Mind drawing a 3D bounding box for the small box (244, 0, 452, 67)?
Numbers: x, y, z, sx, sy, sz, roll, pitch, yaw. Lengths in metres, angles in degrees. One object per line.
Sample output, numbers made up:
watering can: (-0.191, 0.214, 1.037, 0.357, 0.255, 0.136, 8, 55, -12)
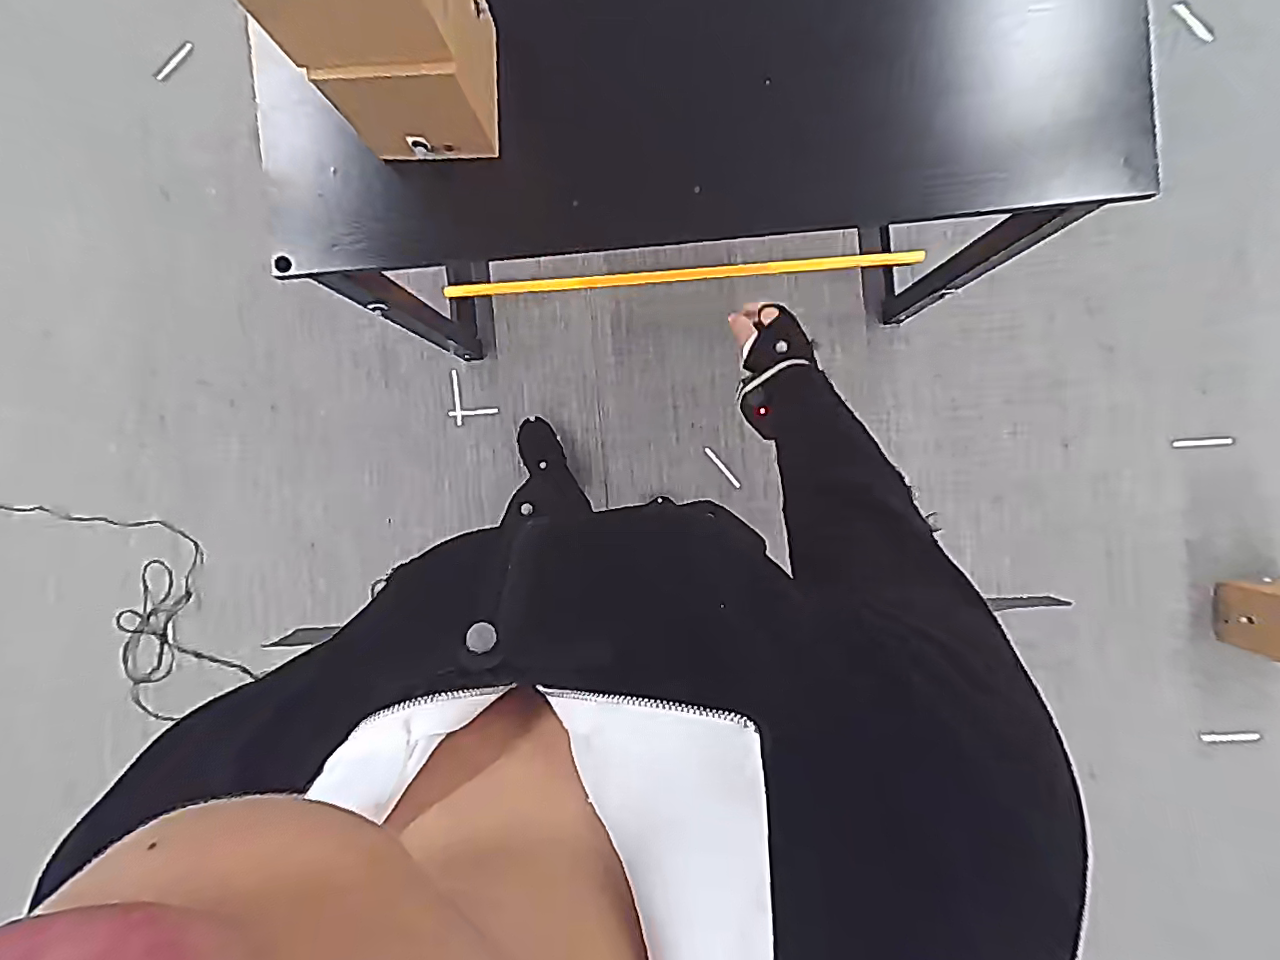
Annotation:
small box: (-0.284, -0.523, 0.498, 0.179, 0.176, 0.168, -1, 91, 2)

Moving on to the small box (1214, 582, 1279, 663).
small box: (1.623, 0.358, 1.371, 0.179, 0.176, 0.168, -2, 92, 3)

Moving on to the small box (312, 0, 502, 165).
small box: (-0.274, -0.522, 0.664, 0.168, 0.176, 0.179, -1, 93, 2)
